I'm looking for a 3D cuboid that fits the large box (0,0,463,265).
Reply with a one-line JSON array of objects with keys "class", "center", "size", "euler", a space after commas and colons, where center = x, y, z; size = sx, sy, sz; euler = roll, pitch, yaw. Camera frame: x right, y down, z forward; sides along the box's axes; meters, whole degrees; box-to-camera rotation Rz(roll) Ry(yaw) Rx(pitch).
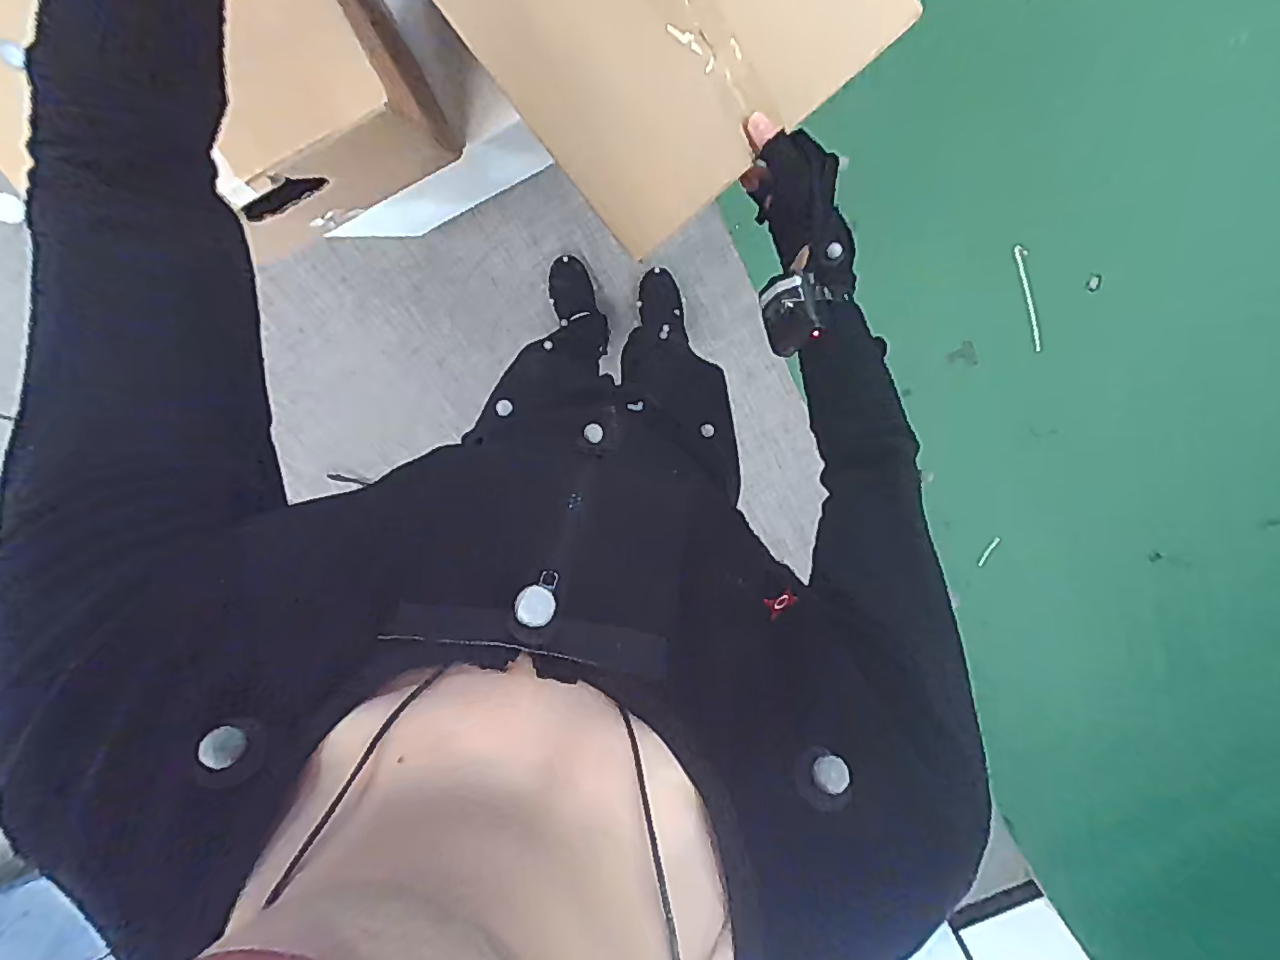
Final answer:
[{"class": "large box", "center": [-0.441, -0.472, 0.525], "size": [0.320, 0.320, 0.408], "euler": [-25, 112, 5]}]
